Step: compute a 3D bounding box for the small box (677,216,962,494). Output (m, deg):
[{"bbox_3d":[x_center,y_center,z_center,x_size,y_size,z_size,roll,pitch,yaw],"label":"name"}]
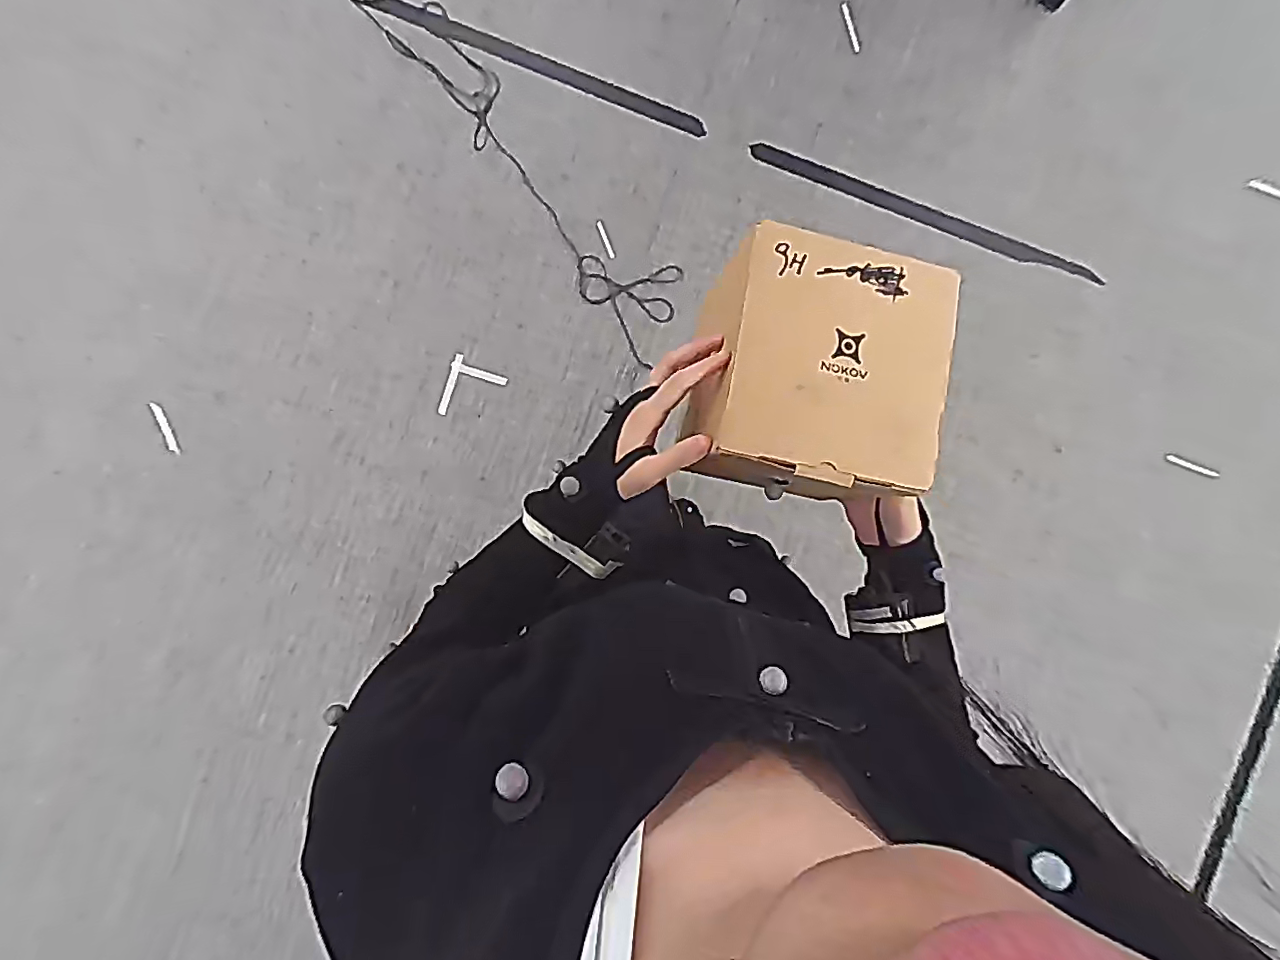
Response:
[{"bbox_3d":[0.137,-0.087,0.473,0.168,0.176,0.179,12,86,-8],"label":"small box"}]
